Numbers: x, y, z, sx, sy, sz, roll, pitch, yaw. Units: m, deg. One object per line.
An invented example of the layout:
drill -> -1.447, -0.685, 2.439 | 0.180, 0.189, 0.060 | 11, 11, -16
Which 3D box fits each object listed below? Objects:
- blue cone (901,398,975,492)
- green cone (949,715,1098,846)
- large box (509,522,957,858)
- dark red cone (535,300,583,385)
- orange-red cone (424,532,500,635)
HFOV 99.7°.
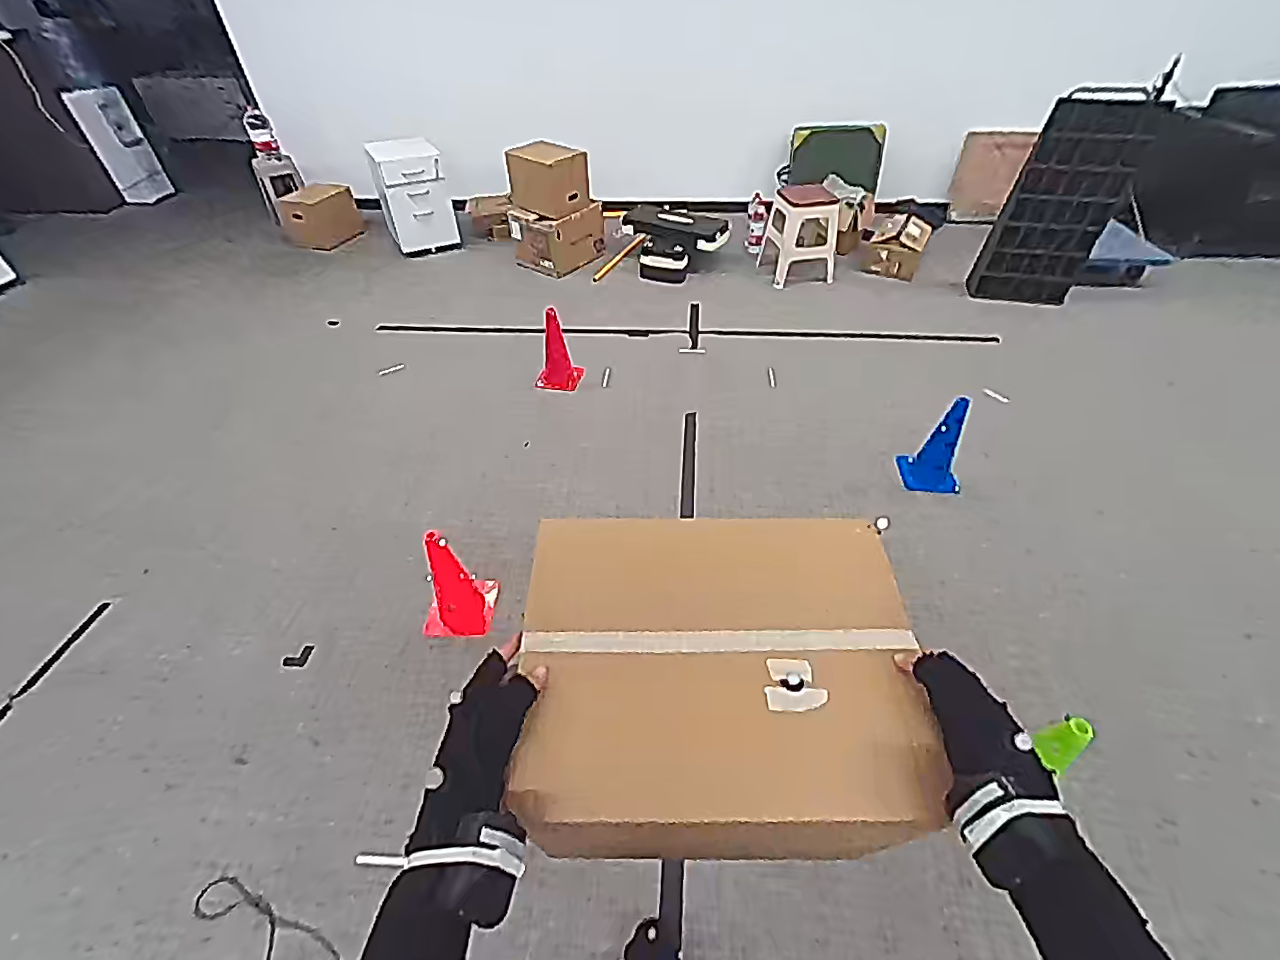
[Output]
blue cone -> 1.129, -0.141, 2.000 | 0.192, 0.380, 0.193 | 5, 45, 5
green cone -> 0.889, 0.620, 1.197 | 0.202, 0.368, 0.200 | -24, 49, -24
large box -> 0.078, 0.267, 0.679 | 0.408, 0.320, 0.320 | 0, 50, 0
dark red cone -> -0.389, -0.637, 2.490 | 0.201, 0.394, 0.202 | 7, 45, 7
orange-red cone -> -0.559, 0.281, 1.585 | 0.198, 0.360, 0.199 | 0, 46, 3
